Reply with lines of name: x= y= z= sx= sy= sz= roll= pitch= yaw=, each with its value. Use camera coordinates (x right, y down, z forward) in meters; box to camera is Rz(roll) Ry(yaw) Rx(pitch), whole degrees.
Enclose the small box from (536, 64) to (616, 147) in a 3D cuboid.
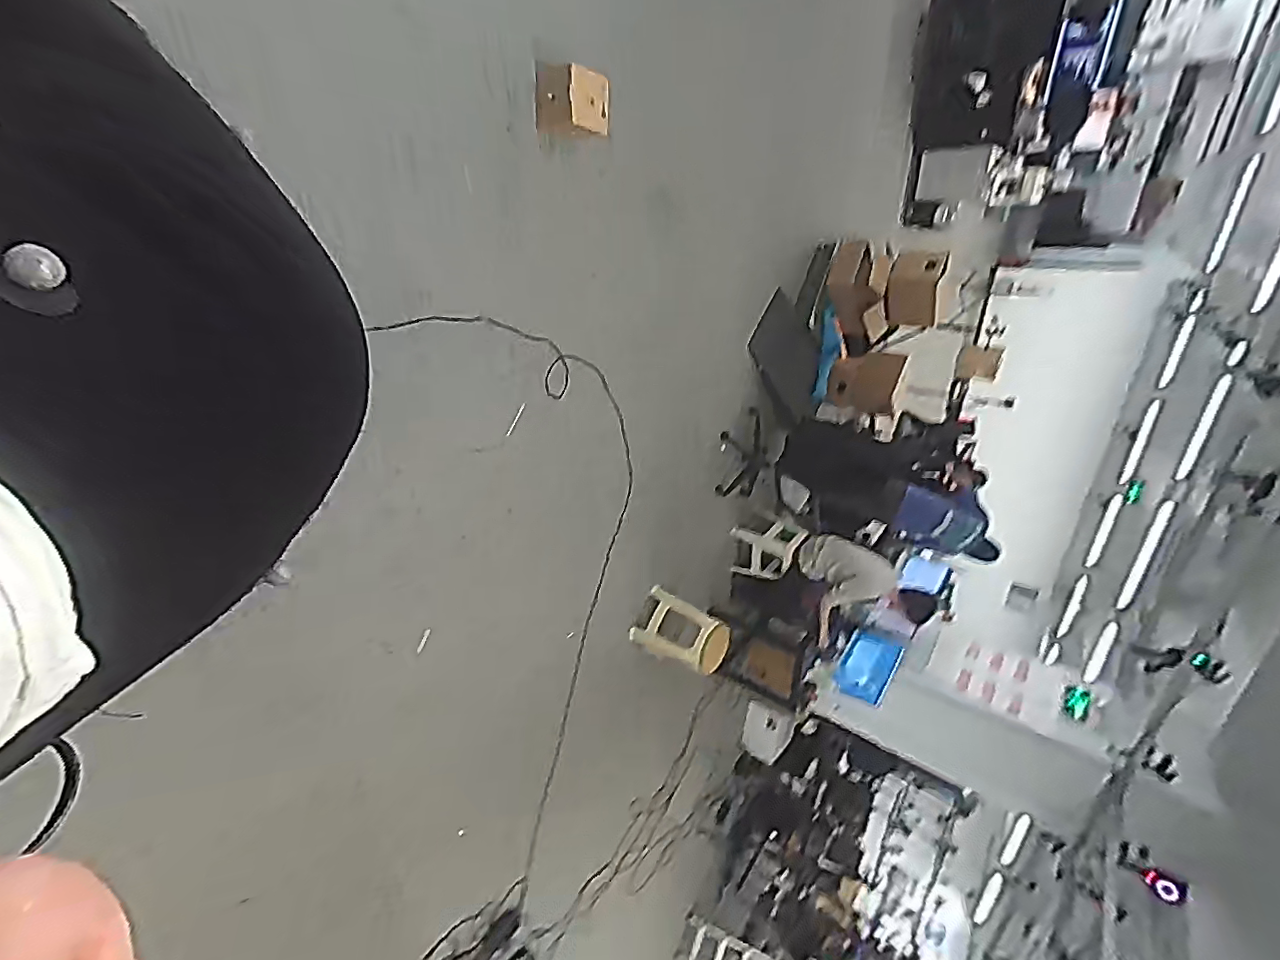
small box: x=-0.215 y=-1.242 z=1.800 sx=0.168 sy=0.176 sz=0.179 roll=-52 pitch=139 yaw=-30
